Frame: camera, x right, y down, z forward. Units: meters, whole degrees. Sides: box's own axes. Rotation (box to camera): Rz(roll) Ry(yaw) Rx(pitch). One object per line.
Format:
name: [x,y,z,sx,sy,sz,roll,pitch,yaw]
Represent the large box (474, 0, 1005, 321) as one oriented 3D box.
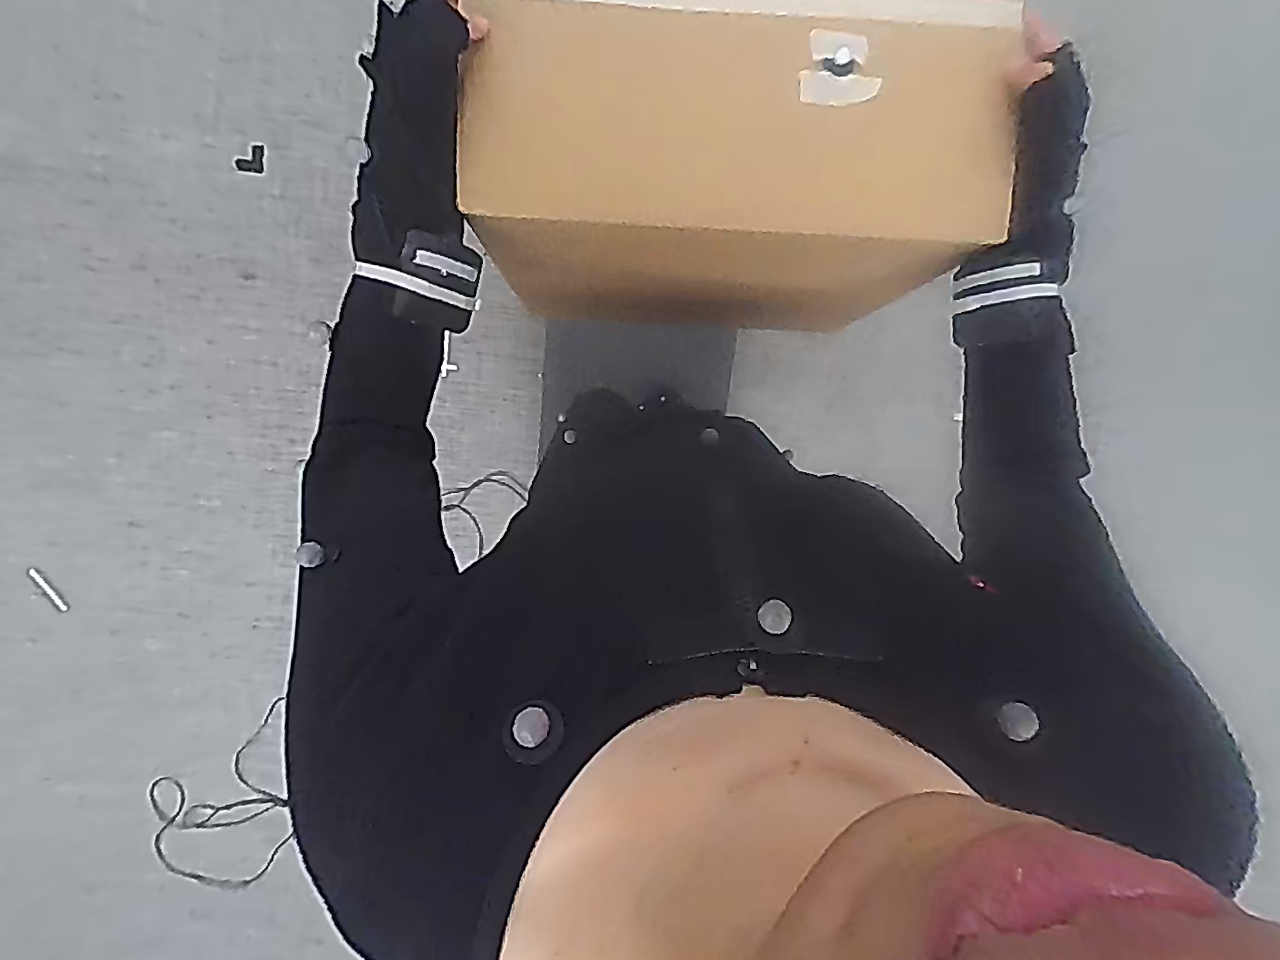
large box: [0.069,-0.356,0.549,0.408,0.320,0.320,2,93,-3]
